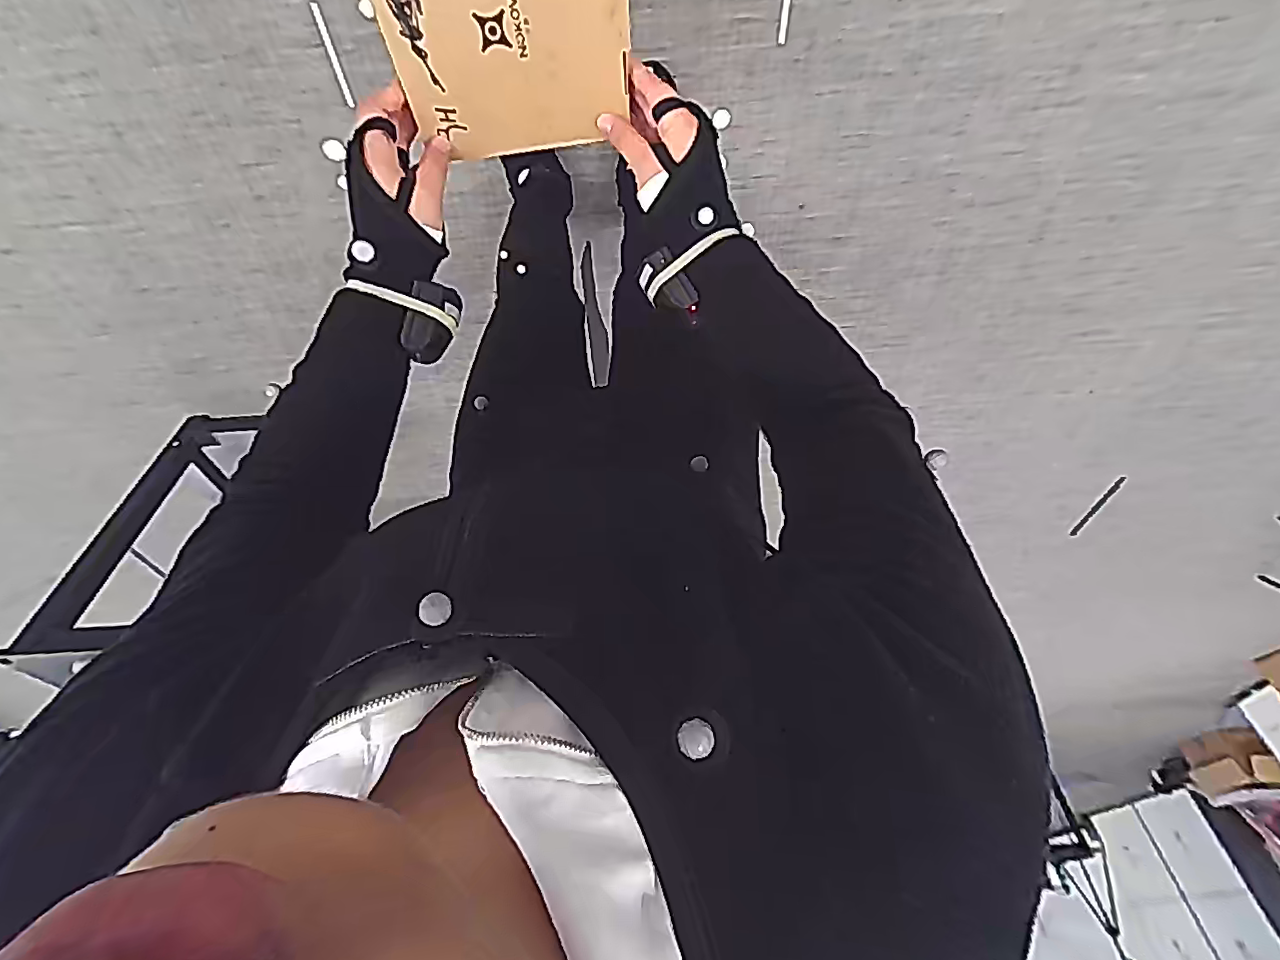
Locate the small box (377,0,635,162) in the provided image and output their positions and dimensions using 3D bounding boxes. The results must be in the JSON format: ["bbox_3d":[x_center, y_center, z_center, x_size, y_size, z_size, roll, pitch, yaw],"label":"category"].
[{"bbox_3d":[-0.105,-0.393,0.441,0.179,0.176,0.168,-8,145,-2],"label":"small box"}]
